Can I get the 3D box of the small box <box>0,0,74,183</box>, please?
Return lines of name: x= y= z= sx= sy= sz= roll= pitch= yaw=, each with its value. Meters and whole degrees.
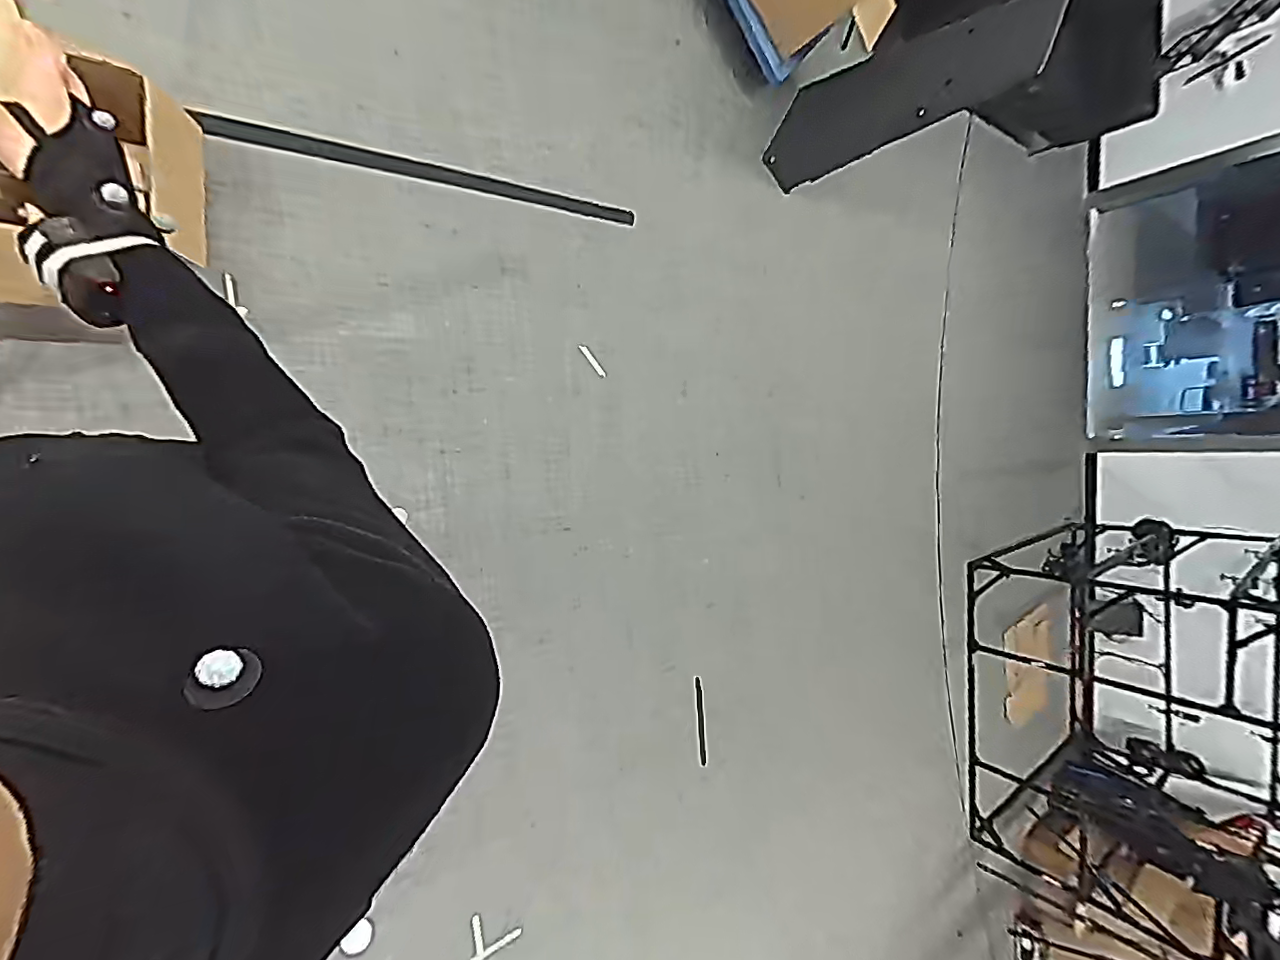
small box: x=-0.598 y=-0.358 z=0.424 sx=0.168 sy=0.176 sz=0.179 roll=-21 pitch=110 yaw=-36
